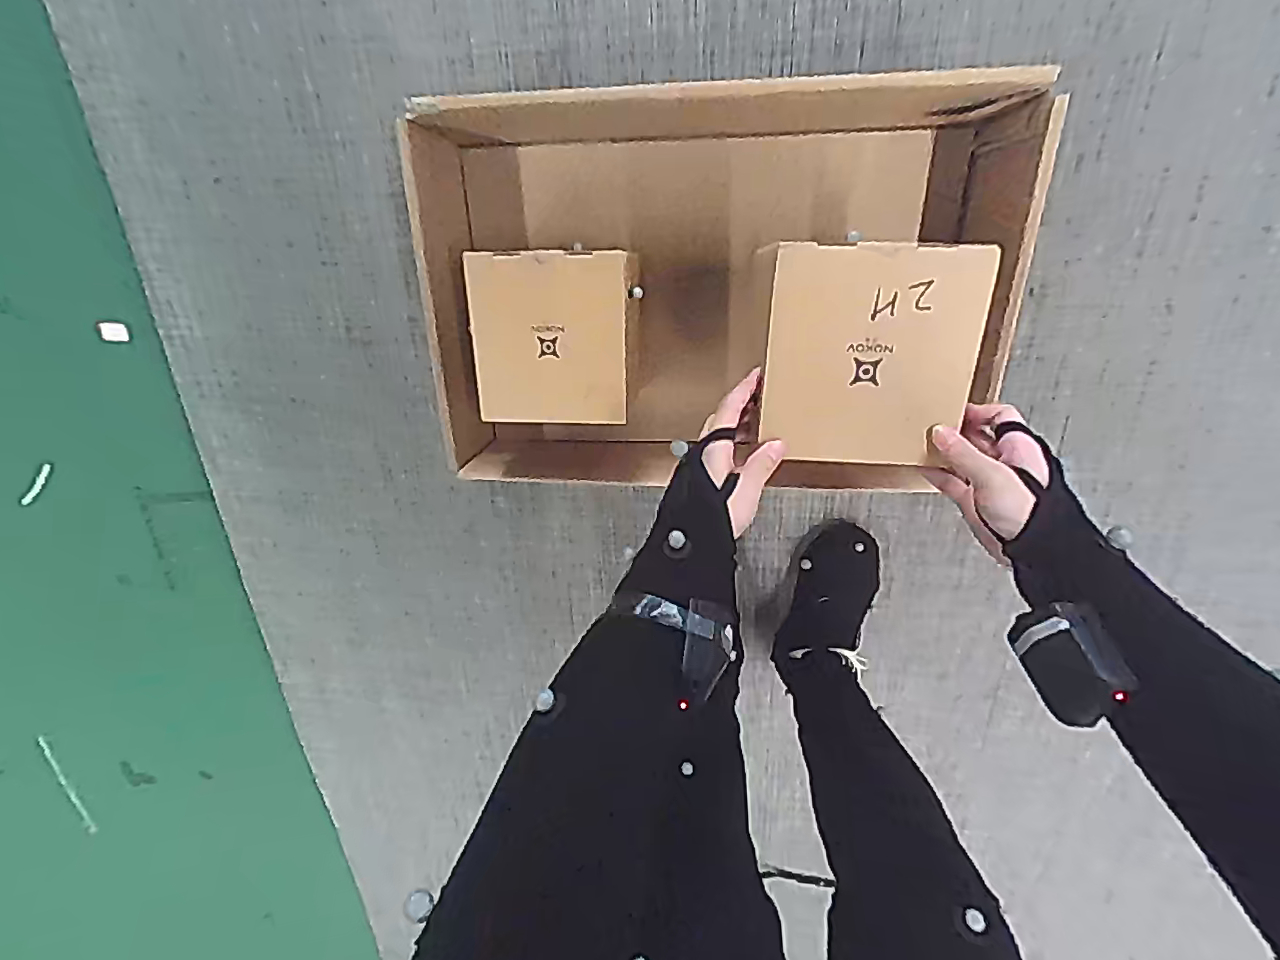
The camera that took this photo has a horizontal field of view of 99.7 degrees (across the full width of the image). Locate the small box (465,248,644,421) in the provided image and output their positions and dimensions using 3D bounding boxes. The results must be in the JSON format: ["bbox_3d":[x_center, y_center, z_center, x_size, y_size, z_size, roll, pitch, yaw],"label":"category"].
[{"bbox_3d":[-0.084,-0.176,0.634,0.168,0.176,0.179,1,111,6],"label":"small box"}]

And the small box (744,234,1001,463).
[{"bbox_3d":[0.192,-0.128,0.509,0.168,0.176,0.179,4,110,5],"label":"small box"}]
